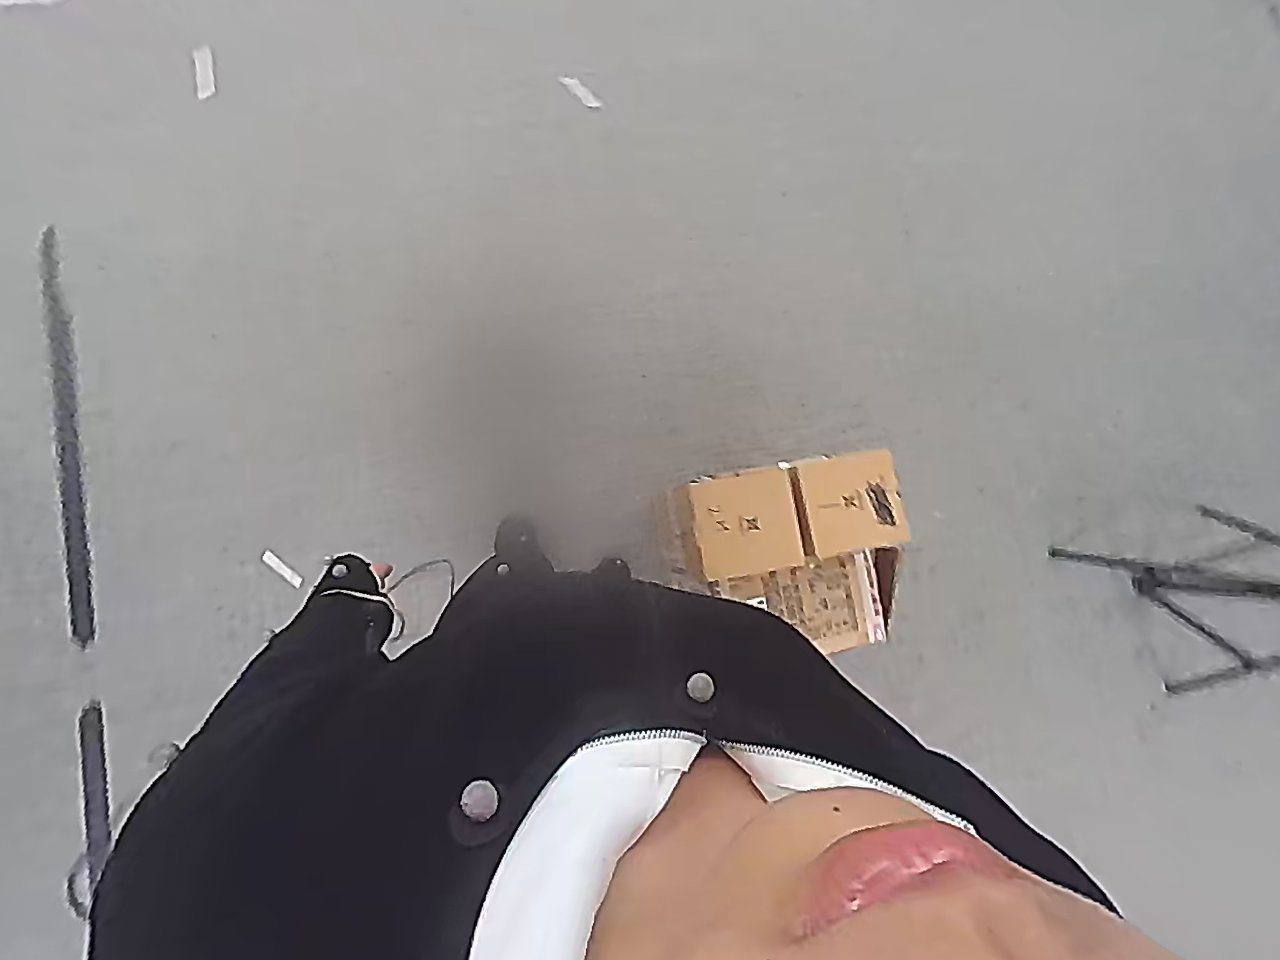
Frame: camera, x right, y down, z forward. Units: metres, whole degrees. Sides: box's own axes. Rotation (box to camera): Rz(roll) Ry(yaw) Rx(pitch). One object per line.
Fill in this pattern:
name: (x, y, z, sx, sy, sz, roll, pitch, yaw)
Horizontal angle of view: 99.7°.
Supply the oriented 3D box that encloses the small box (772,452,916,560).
small box: (0.366, 0.050, 0.998, 0.179, 0.176, 0.168, -9, 84, -6)
